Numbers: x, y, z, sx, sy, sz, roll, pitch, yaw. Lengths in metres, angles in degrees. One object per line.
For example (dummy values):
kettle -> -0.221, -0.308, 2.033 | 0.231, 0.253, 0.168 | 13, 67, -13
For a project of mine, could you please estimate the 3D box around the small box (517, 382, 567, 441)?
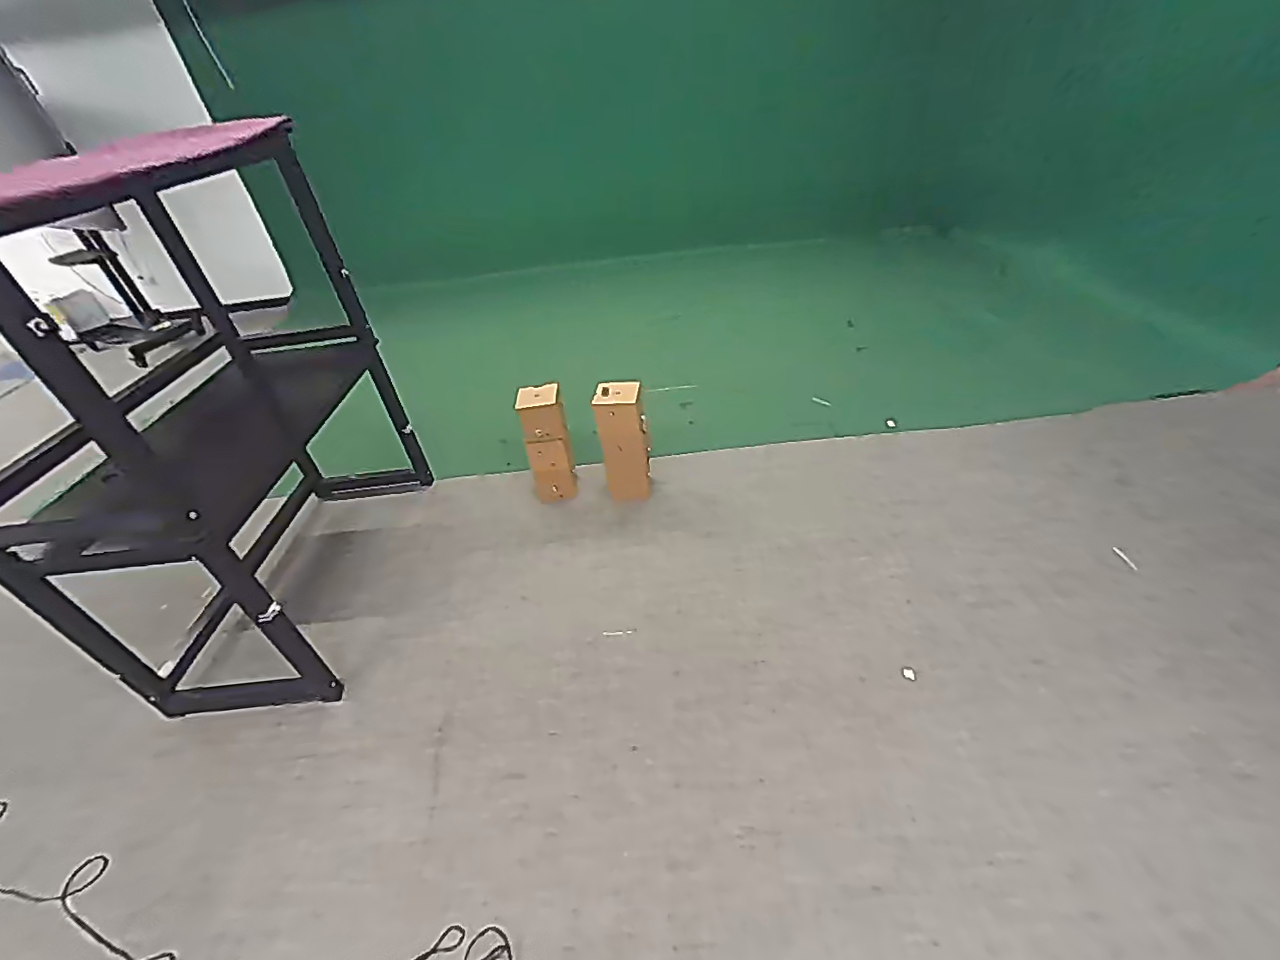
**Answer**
small box -> -0.402, -0.282, 2.240 | 0.168, 0.176, 0.179 | -9, 38, 1

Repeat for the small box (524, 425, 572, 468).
small box -> -0.395, -0.162, 2.352 | 0.168, 0.176, 0.179 | -7, 37, 3

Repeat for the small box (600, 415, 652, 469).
small box -> -0.055, -0.159, 2.281 | 0.179, 0.176, 0.168 | 1, 40, 11

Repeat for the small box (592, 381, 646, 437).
small box -> -0.080, -0.285, 2.179 | 0.179, 0.176, 0.168 | -1, 39, 9
